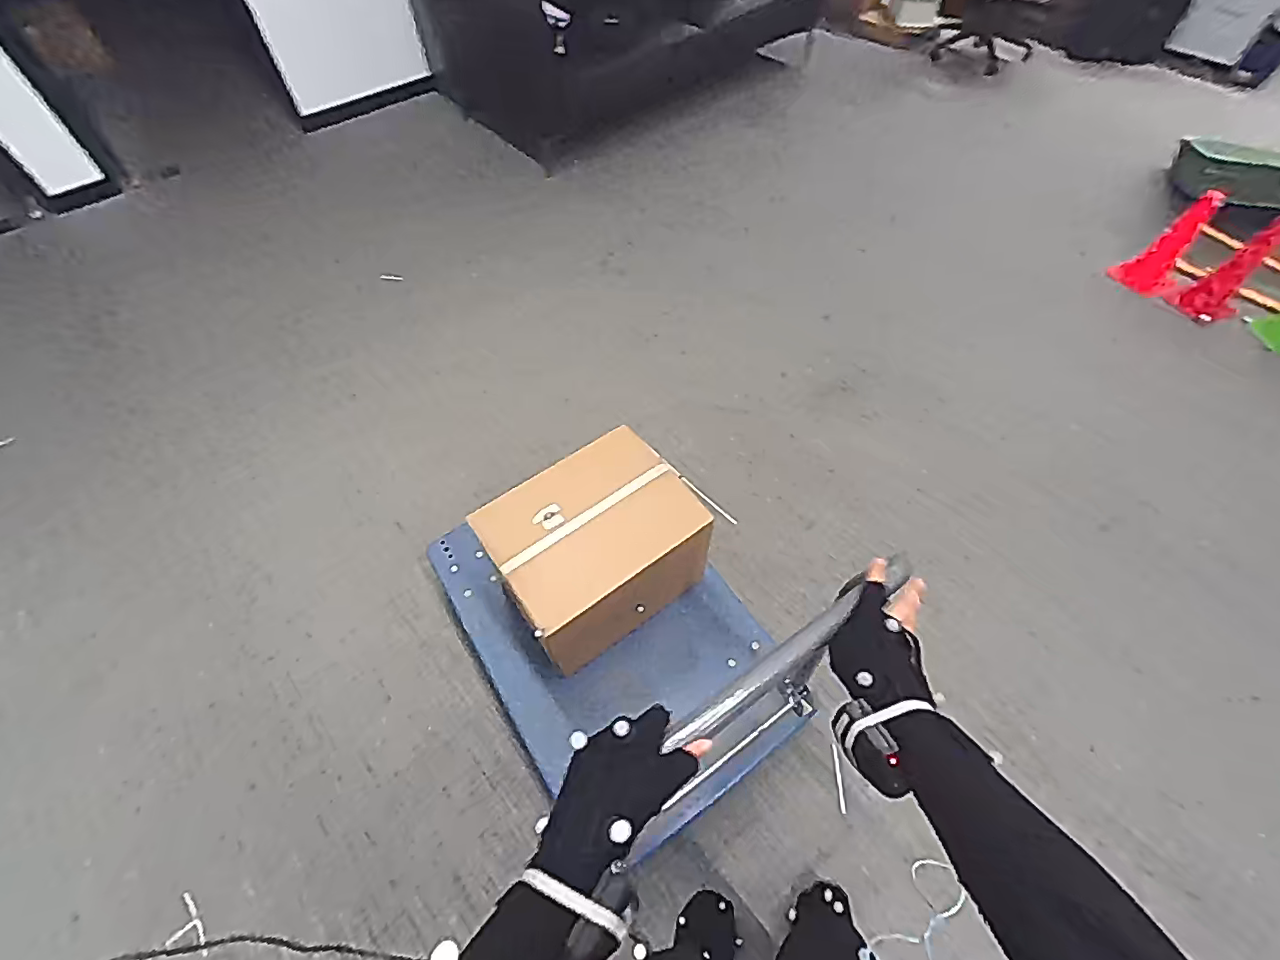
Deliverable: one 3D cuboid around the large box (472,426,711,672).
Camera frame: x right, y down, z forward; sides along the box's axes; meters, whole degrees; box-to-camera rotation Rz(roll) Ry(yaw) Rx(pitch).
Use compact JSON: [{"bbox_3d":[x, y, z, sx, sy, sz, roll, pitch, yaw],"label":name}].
[{"bbox_3d":[-0.095,0.159,1.224,0.408,0.320,0.320,-33,62,-18],"label":"large box"}]
